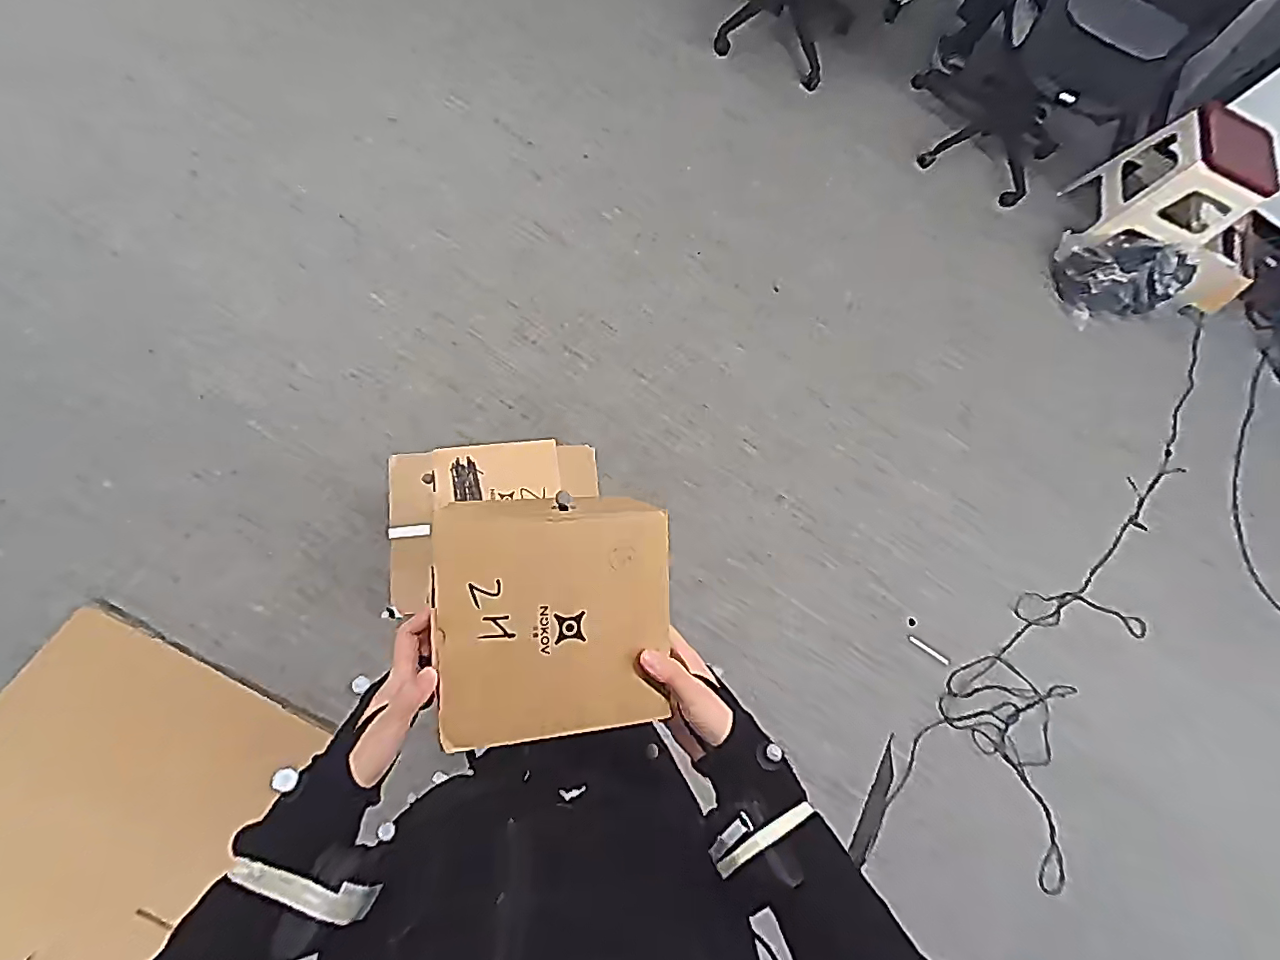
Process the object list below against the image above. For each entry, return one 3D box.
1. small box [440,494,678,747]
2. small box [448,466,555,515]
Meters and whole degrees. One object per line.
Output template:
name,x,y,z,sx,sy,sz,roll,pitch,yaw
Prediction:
small box,-0.077,0.102,0.478,0.179,0.176,0.168,-2,93,-15
small box,-0.244,0.081,0.984,0.179,0.176,0.168,-7,79,-17
